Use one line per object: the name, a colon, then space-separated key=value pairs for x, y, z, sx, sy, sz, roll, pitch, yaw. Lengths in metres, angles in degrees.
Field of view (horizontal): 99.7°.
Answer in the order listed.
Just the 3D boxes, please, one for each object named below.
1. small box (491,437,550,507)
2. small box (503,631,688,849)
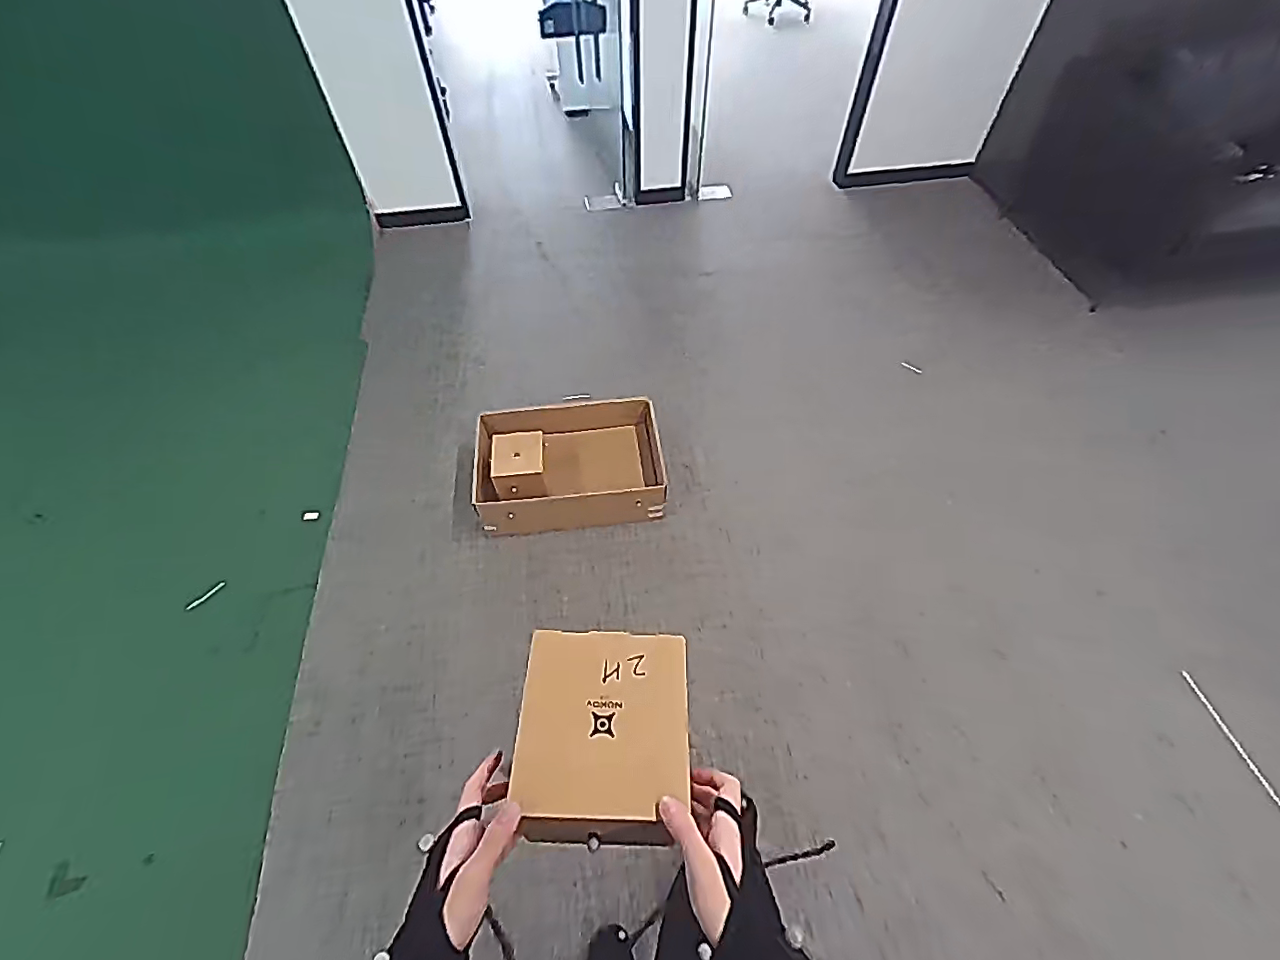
small box: x=-0.395 y=-0.020 z=1.812 sx=0.168 sy=0.176 sz=0.179 roll=-5 pitch=53 yaw=-4
small box: x=-0.038 y=0.283 z=0.583 sx=0.168 sy=0.176 sz=0.179 roll=3 pitch=48 yaw=-1
